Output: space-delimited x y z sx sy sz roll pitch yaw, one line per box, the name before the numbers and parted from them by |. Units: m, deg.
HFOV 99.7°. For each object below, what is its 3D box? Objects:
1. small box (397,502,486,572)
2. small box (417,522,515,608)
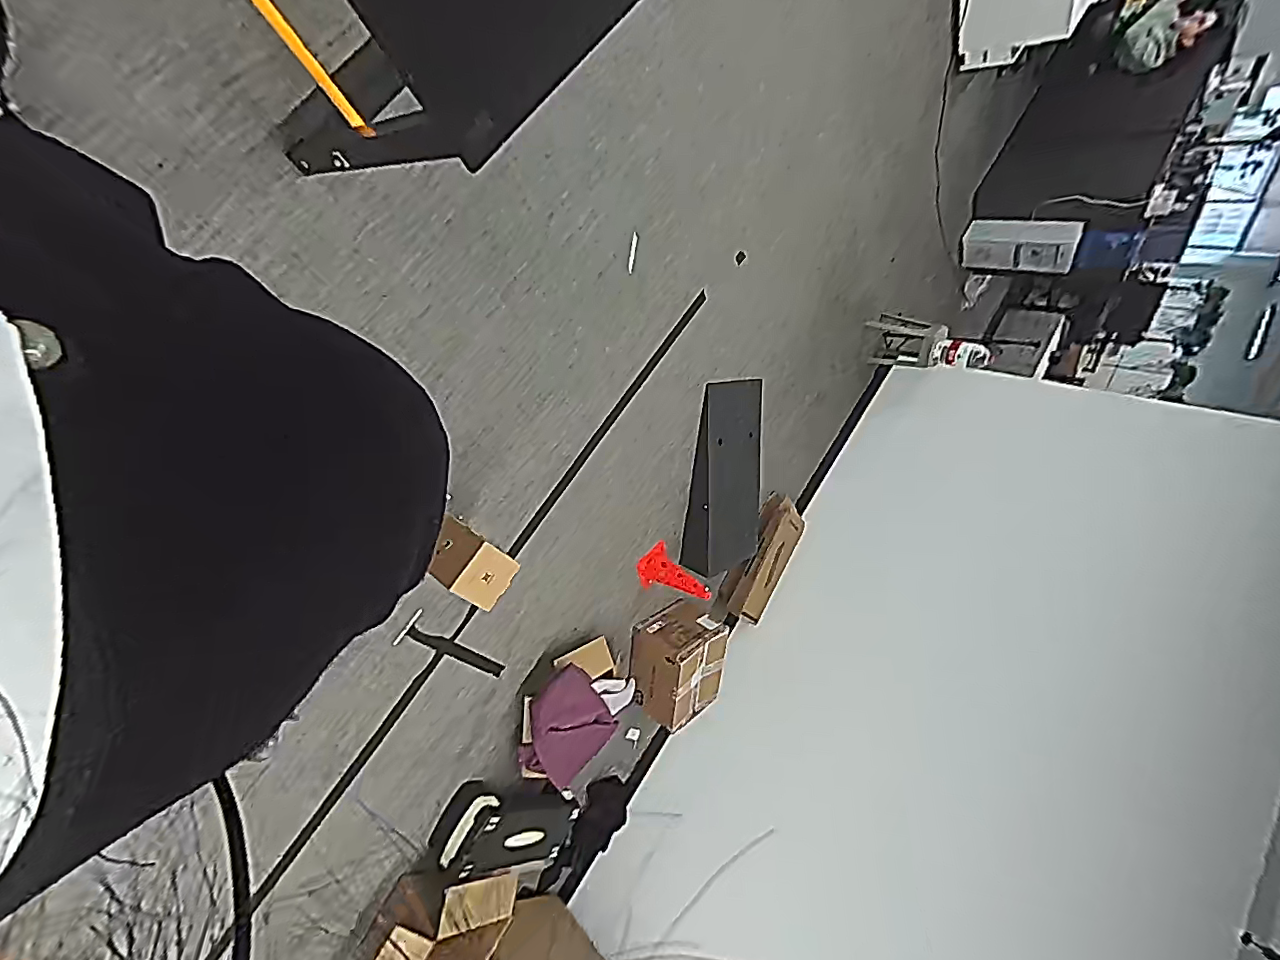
small box | -0.627 0.198 1.691 0.179 0.176 0.168 -56 141 -13
small box | -0.510 0.245 1.589 0.168 0.176 0.179 -57 140 -14
